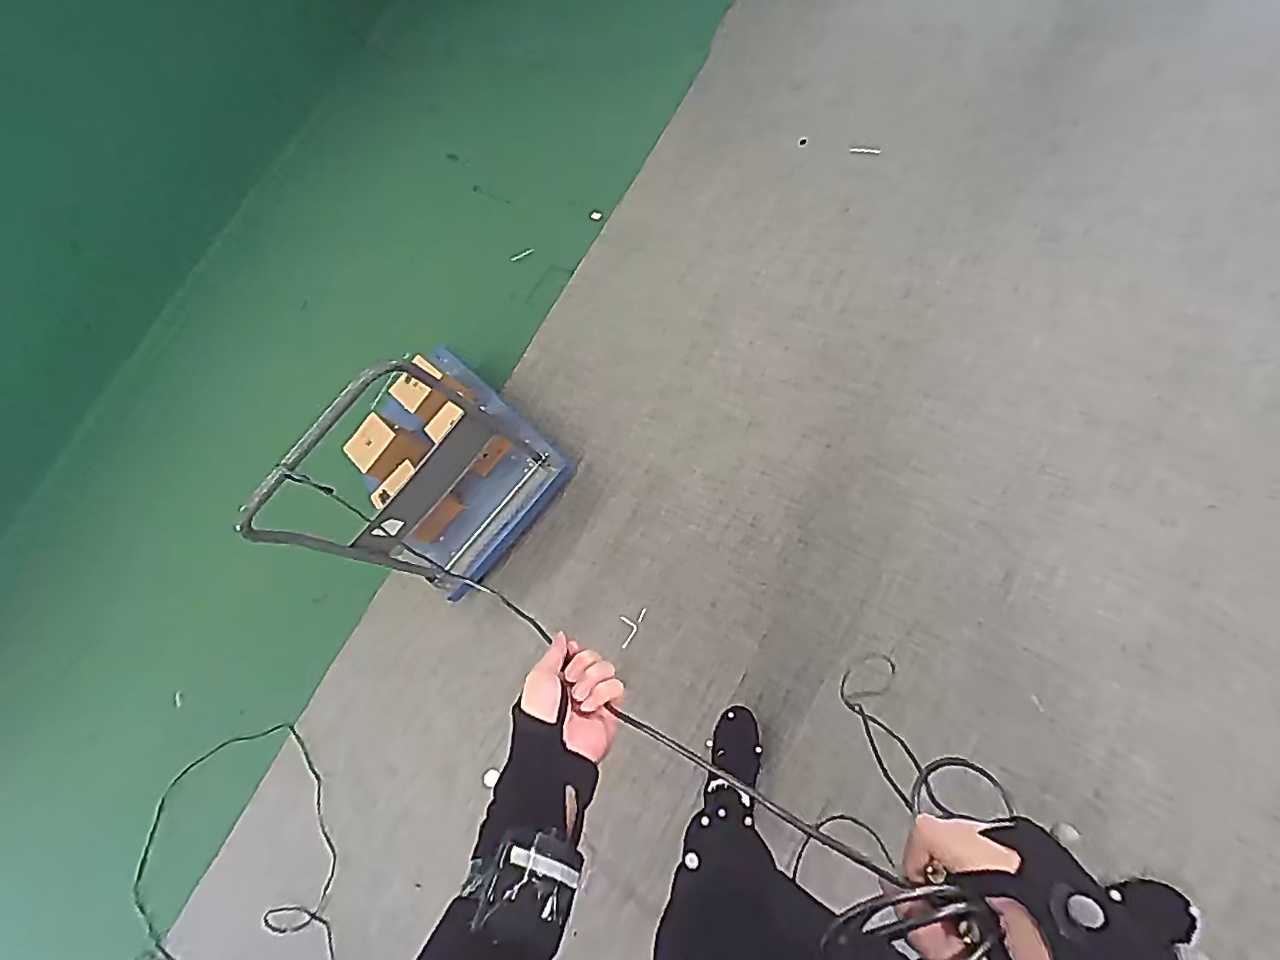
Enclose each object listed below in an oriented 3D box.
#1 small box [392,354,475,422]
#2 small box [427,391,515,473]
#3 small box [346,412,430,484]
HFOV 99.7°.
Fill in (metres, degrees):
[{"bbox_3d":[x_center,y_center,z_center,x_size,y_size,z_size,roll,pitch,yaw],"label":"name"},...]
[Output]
[{"bbox_3d":[-0.719,-0.302,1.890,0.179,0.176,0.168,37,89,30],"label":"small box"},{"bbox_3d":[-0.544,-0.149,1.751,0.168,0.176,0.179,-48,59,1],"label":"small box"},{"bbox_3d":[-0.872,-0.103,1.884,0.179,0.176,0.168,37,88,31],"label":"small box"}]
